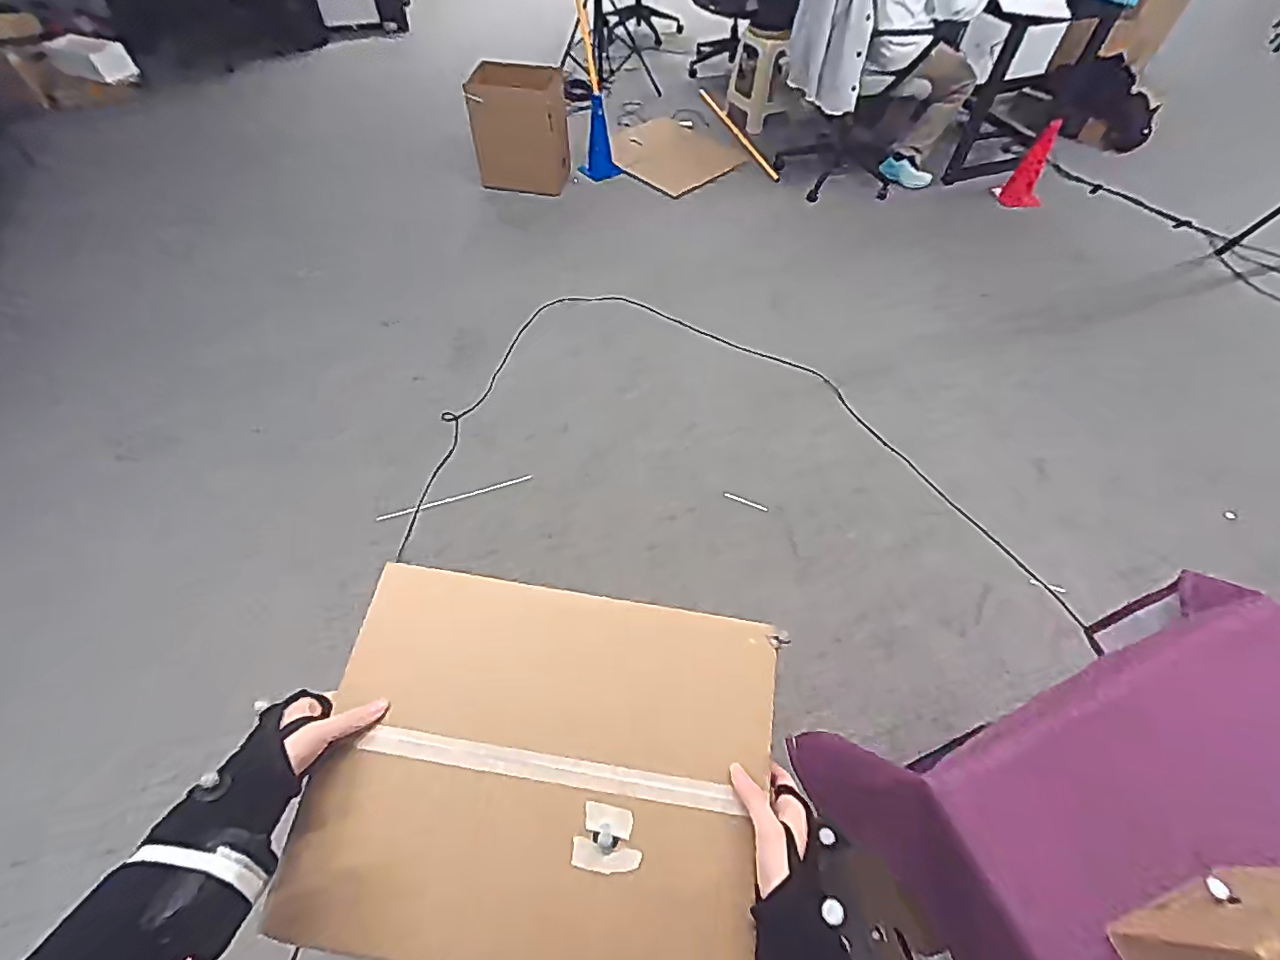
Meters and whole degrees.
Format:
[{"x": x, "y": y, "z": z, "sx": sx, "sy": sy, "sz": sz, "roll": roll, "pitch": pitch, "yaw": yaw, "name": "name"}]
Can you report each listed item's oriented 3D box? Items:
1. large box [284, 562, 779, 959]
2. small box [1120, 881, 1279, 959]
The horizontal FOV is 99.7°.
[{"x": -0.081, "y": 0.310, "z": 0.632, "sx": 0.408, "sy": 0.320, "sz": 0.320, "roll": 9, "pitch": 67, "yaw": 3, "name": "large box"}, {"x": 0.576, "y": 0.460, "z": 0.450, "sx": 0.168, "sy": 0.176, "sz": 0.179, "roll": -15, "pitch": 56, "yaw": -10, "name": "small box"}]
